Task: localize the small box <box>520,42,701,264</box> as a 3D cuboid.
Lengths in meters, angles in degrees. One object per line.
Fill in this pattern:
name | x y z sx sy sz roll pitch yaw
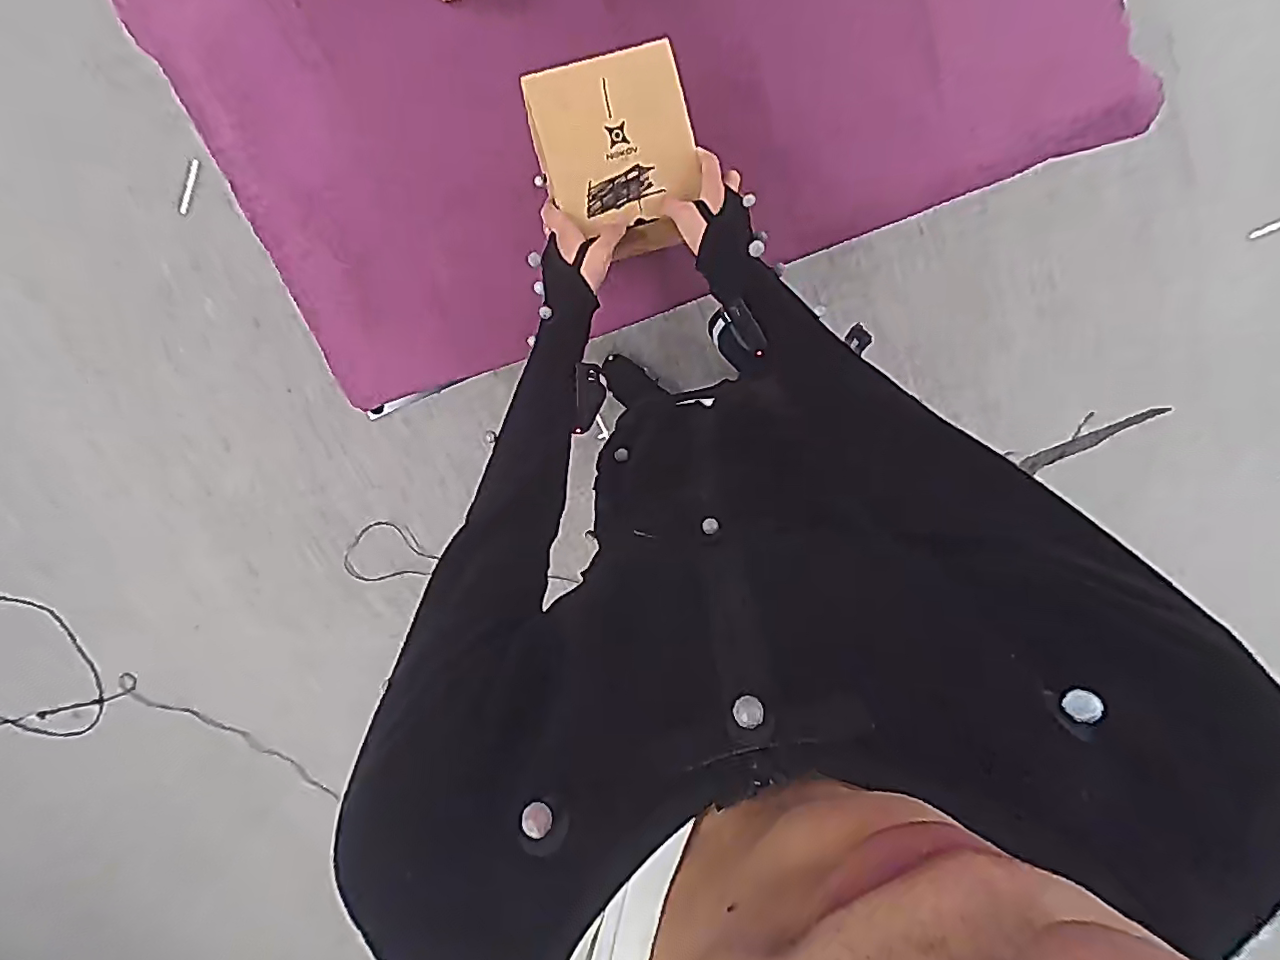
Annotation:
small box | -0.036 -0.379 0.666 0.168 0.176 0.179 -16 102 -3
